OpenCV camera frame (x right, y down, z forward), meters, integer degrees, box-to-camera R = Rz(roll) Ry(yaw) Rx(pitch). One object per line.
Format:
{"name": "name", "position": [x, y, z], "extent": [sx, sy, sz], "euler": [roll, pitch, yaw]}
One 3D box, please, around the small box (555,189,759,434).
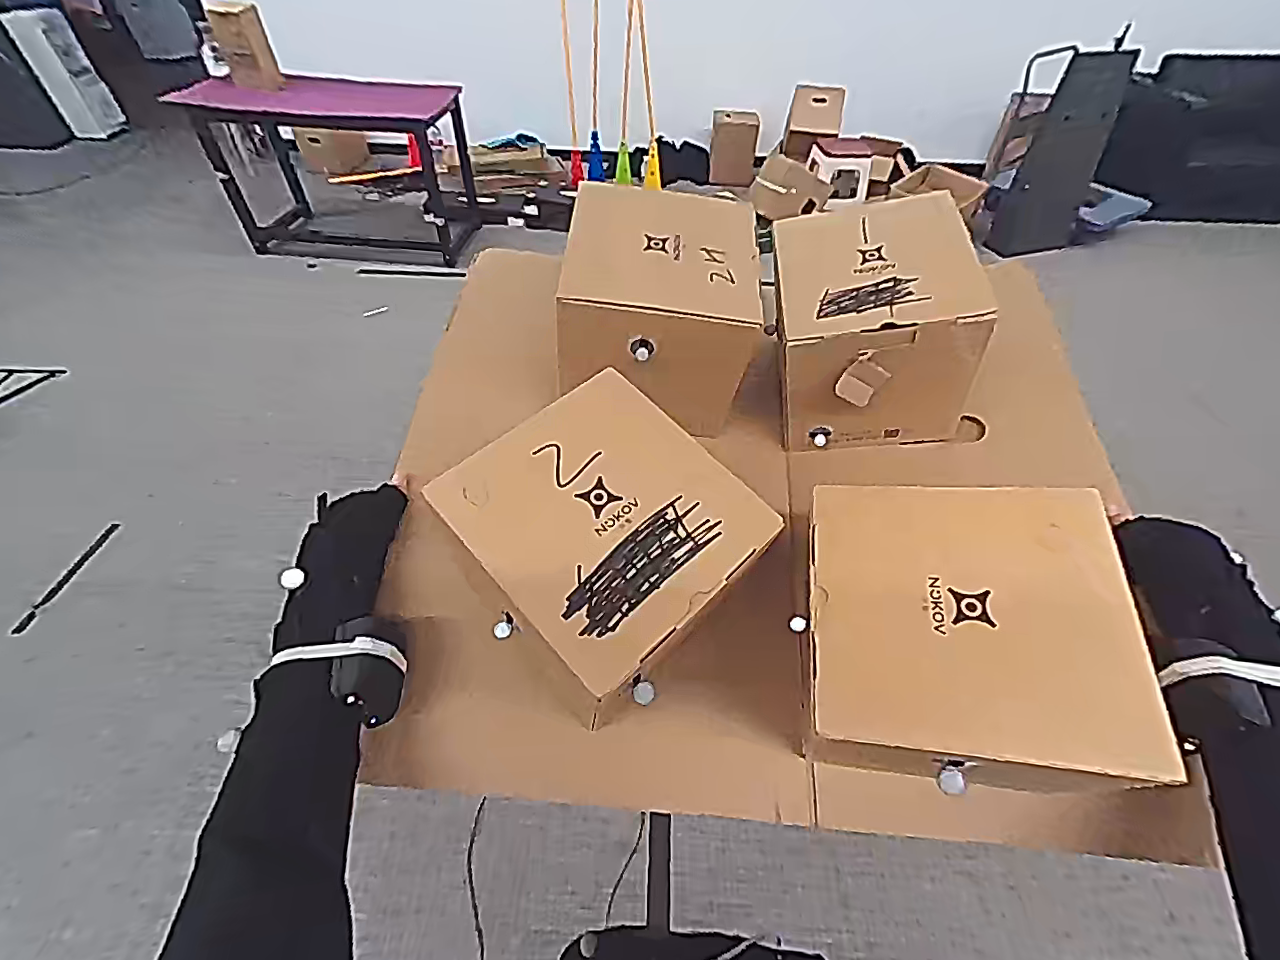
{"name": "small box", "position": [0.013, -0.164, 0.559], "extent": [0.179, 0.176, 0.168], "euler": [7, 60, -4]}
